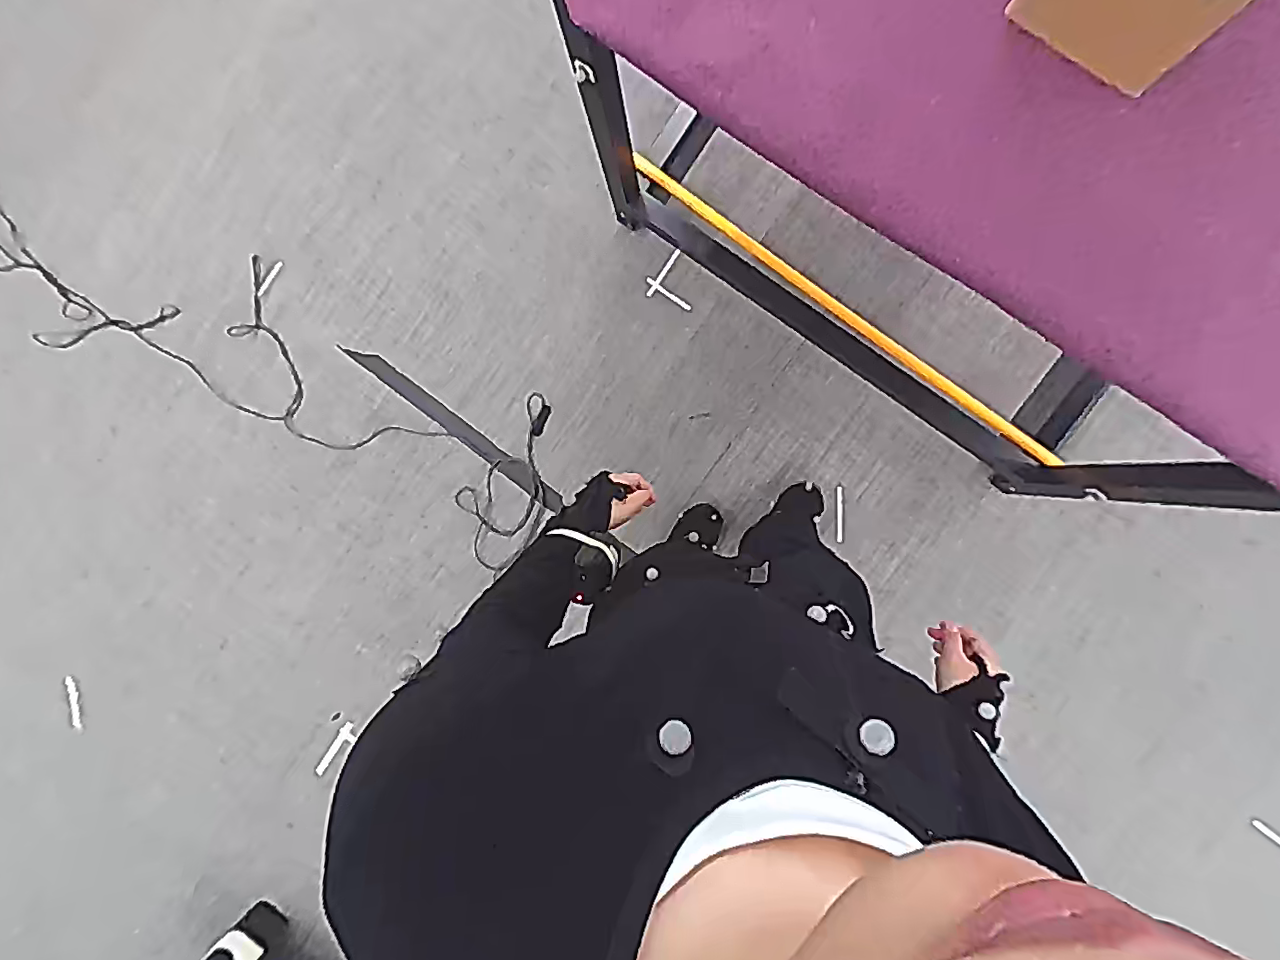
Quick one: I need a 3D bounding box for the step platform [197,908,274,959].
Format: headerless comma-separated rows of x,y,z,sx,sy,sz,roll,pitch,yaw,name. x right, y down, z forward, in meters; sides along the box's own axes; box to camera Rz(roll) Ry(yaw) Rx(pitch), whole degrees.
-0.906,1.483,1.401,0.684,0.204,0.286,36,94,2,step platform

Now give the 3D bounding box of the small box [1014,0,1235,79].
0.517,-0.542,0.515,0.179,0.176,0.168,36,94,3,small box
